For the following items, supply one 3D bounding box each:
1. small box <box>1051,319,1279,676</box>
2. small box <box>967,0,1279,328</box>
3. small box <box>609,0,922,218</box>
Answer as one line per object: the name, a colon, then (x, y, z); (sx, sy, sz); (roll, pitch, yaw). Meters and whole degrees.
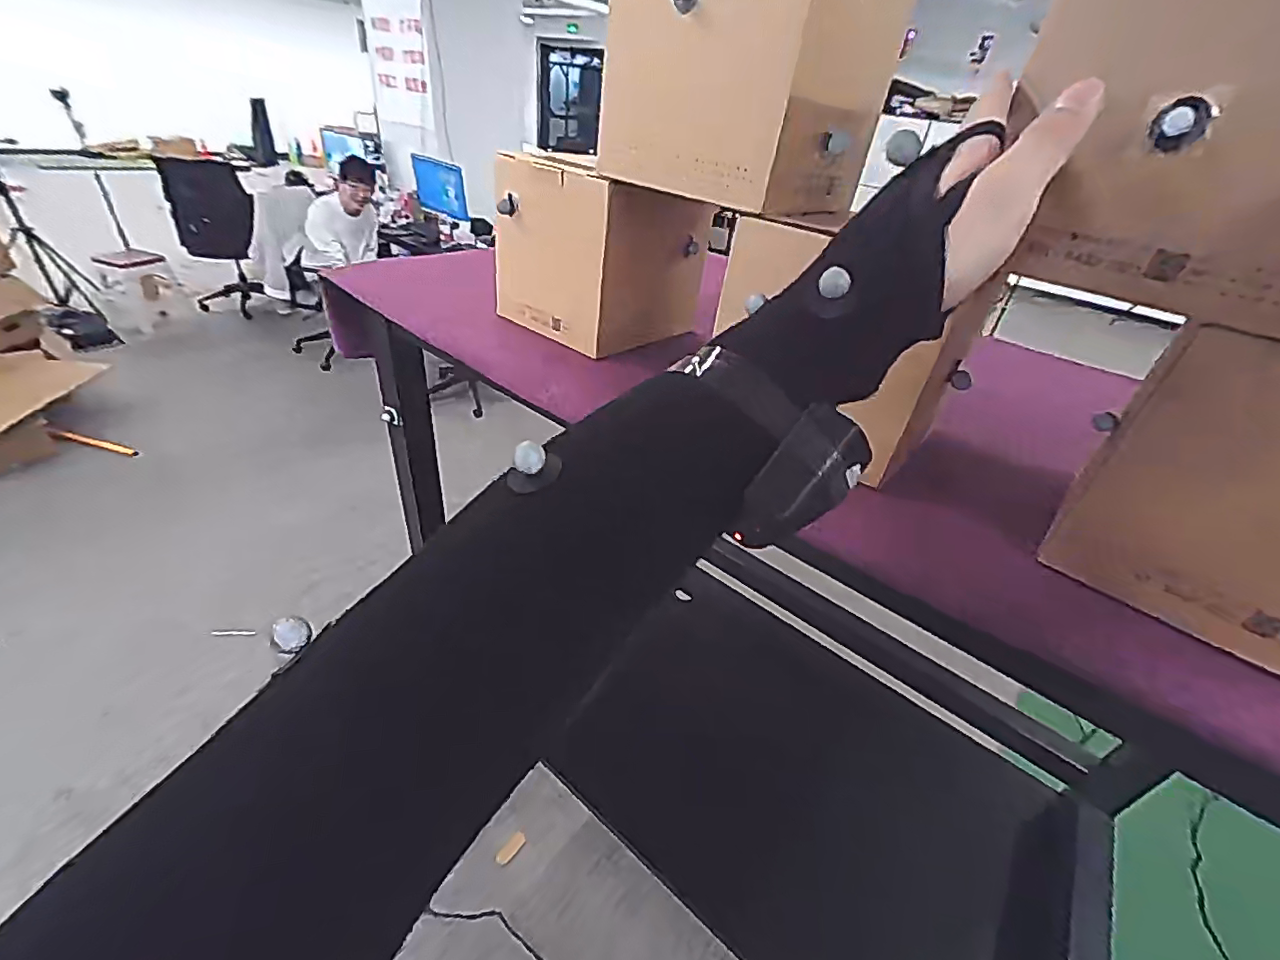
small box: (0.394, -0.001, 0.330); (0.168, 0.176, 0.179); (33, 40, 32)
small box: (0.320, -0.196, 0.306); (0.168, 0.176, 0.179); (33, 41, 31)
small box: (0.092, -0.324, 0.443); (0.179, 0.176, 0.168); (32, 40, 29)
